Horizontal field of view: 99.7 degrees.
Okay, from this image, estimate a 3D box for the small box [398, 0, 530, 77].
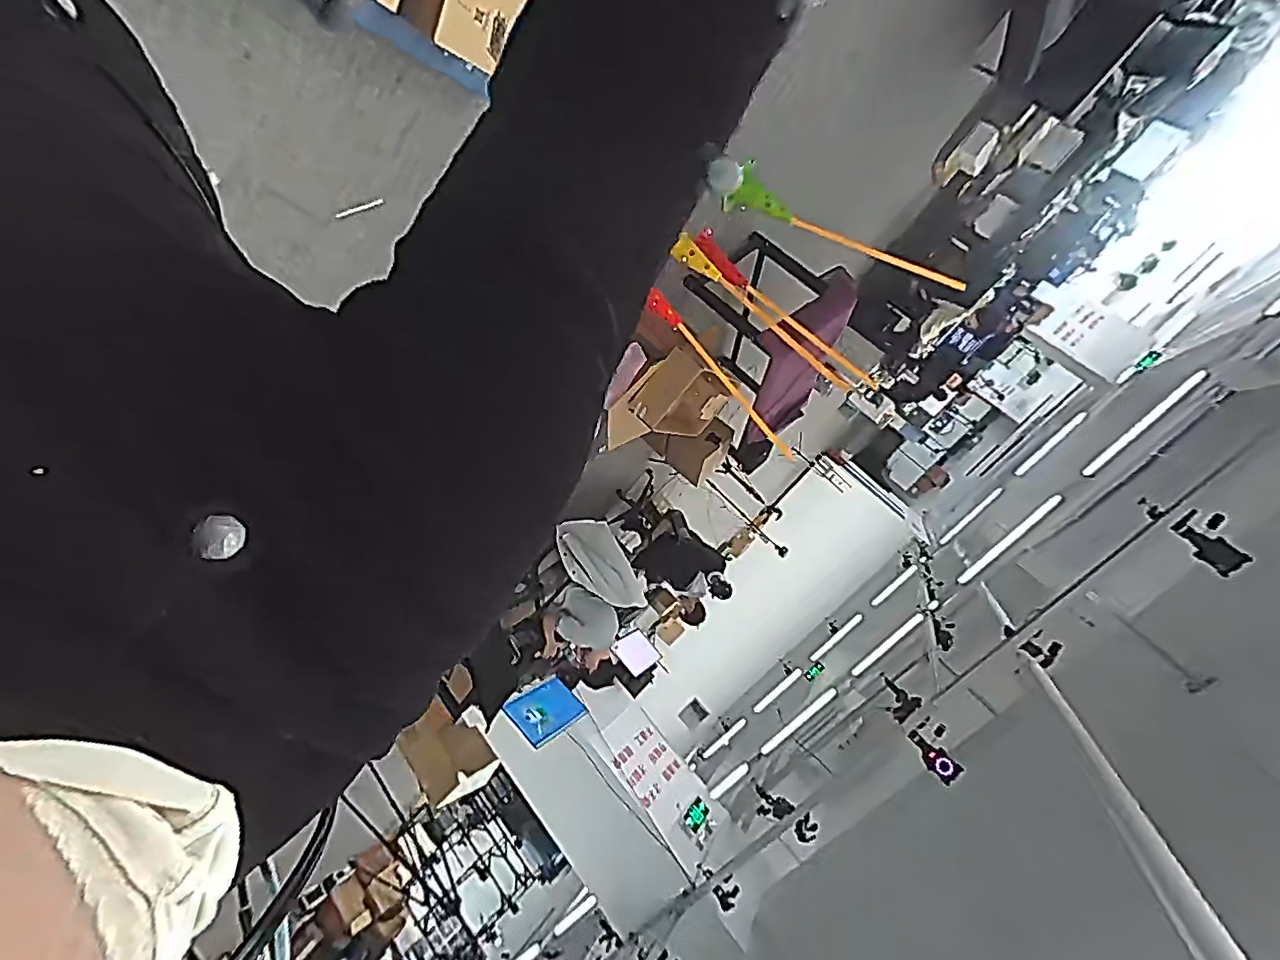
[{"bbox_3d":[-0.369,-0.996,1.122,0.179,0.176,0.168,-14,144,-54],"label":"small box"}]
